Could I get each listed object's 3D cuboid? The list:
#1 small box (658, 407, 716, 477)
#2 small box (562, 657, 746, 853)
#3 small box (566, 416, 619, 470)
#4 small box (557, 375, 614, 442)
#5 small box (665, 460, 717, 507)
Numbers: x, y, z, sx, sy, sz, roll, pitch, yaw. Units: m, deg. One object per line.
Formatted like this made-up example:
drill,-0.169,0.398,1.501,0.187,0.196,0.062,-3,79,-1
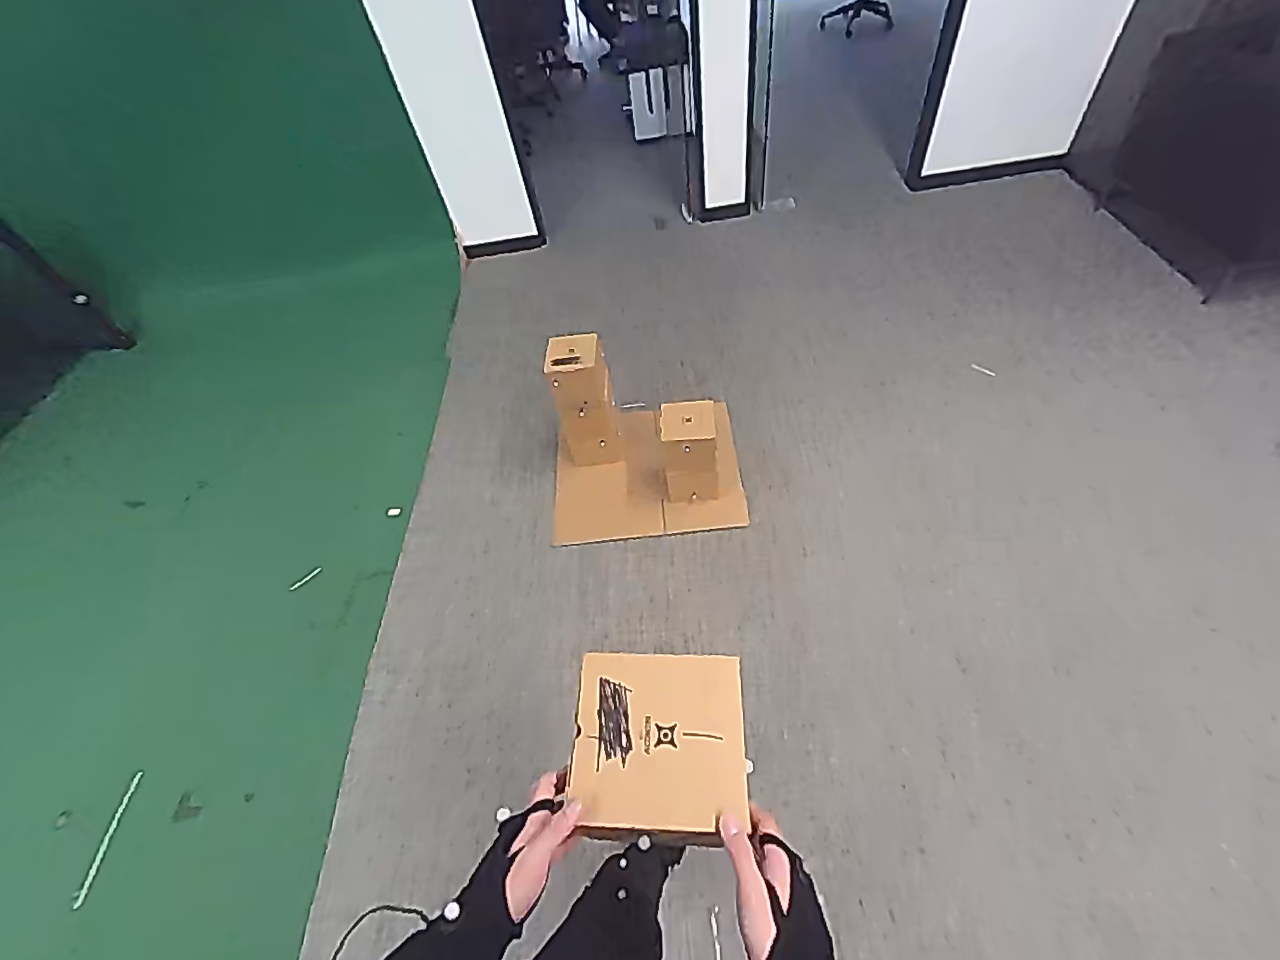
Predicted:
small box,0.159,-0.121,1.790,0.179,0.176,0.168,-2,52,7
small box,0.024,0.313,0.610,0.179,0.176,0.168,0,52,5
small box,-0.177,-0.154,2.075,0.179,0.176,0.168,-5,51,5
small box,-0.190,-0.254,1.948,0.179,0.176,0.168,-6,52,5
small box,0.180,-0.018,1.916,0.179,0.176,0.168,-4,51,6
